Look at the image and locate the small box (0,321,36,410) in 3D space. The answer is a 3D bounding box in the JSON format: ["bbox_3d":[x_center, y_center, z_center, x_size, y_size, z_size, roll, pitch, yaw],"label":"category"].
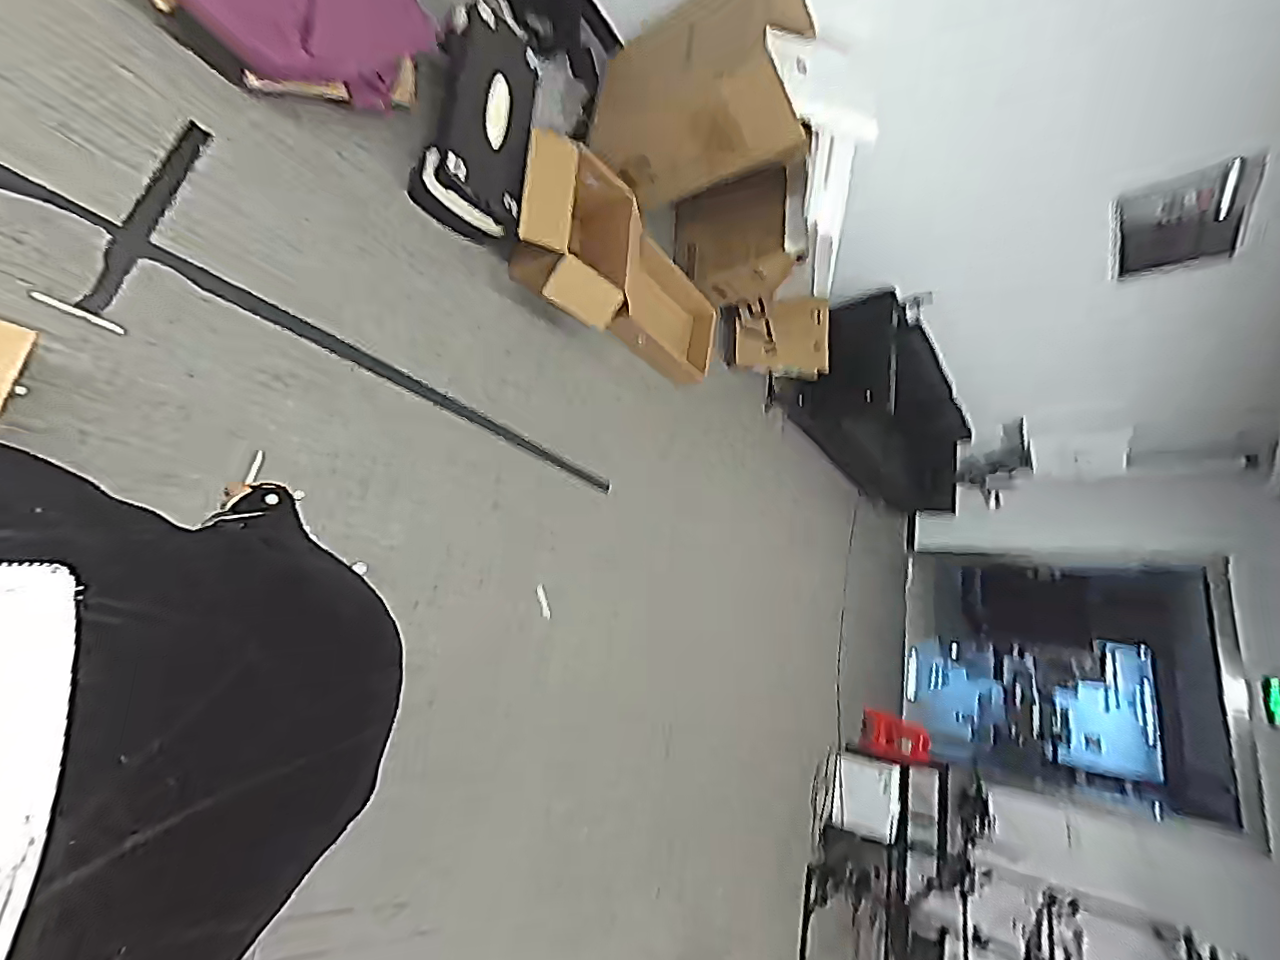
[{"bbox_3d":[-1.170,-0.198,0.898,0.179,0.176,0.168,28,66,-48],"label":"small box"}]
